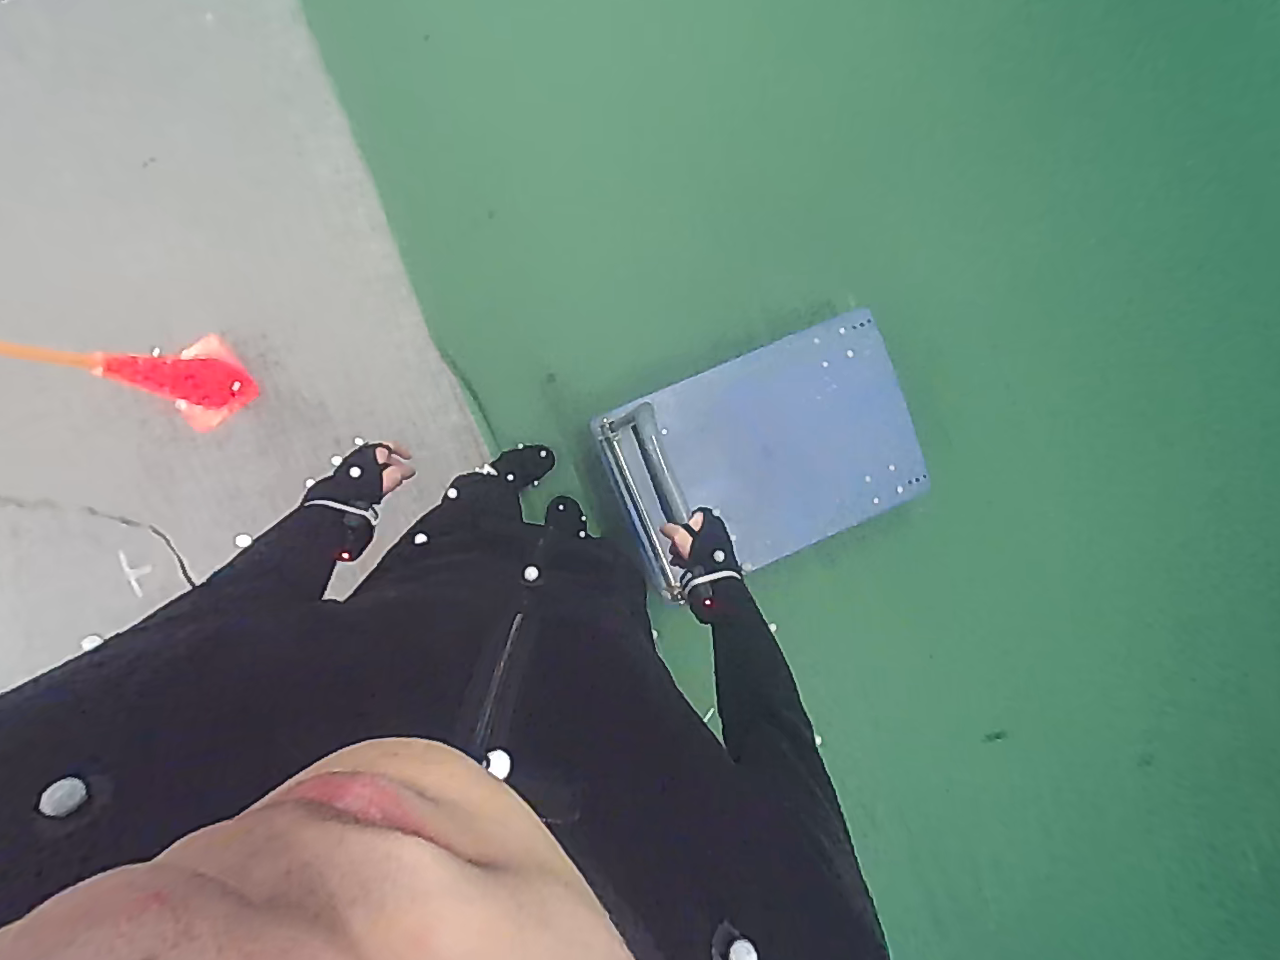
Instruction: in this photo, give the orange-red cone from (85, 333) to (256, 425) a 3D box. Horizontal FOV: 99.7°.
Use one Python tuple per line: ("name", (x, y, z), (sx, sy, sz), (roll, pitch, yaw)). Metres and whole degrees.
("orange-red cone", (-1.155, -0.267, 1.295), (0.198, 0.360, 0.199), (-35, 96, -5))
